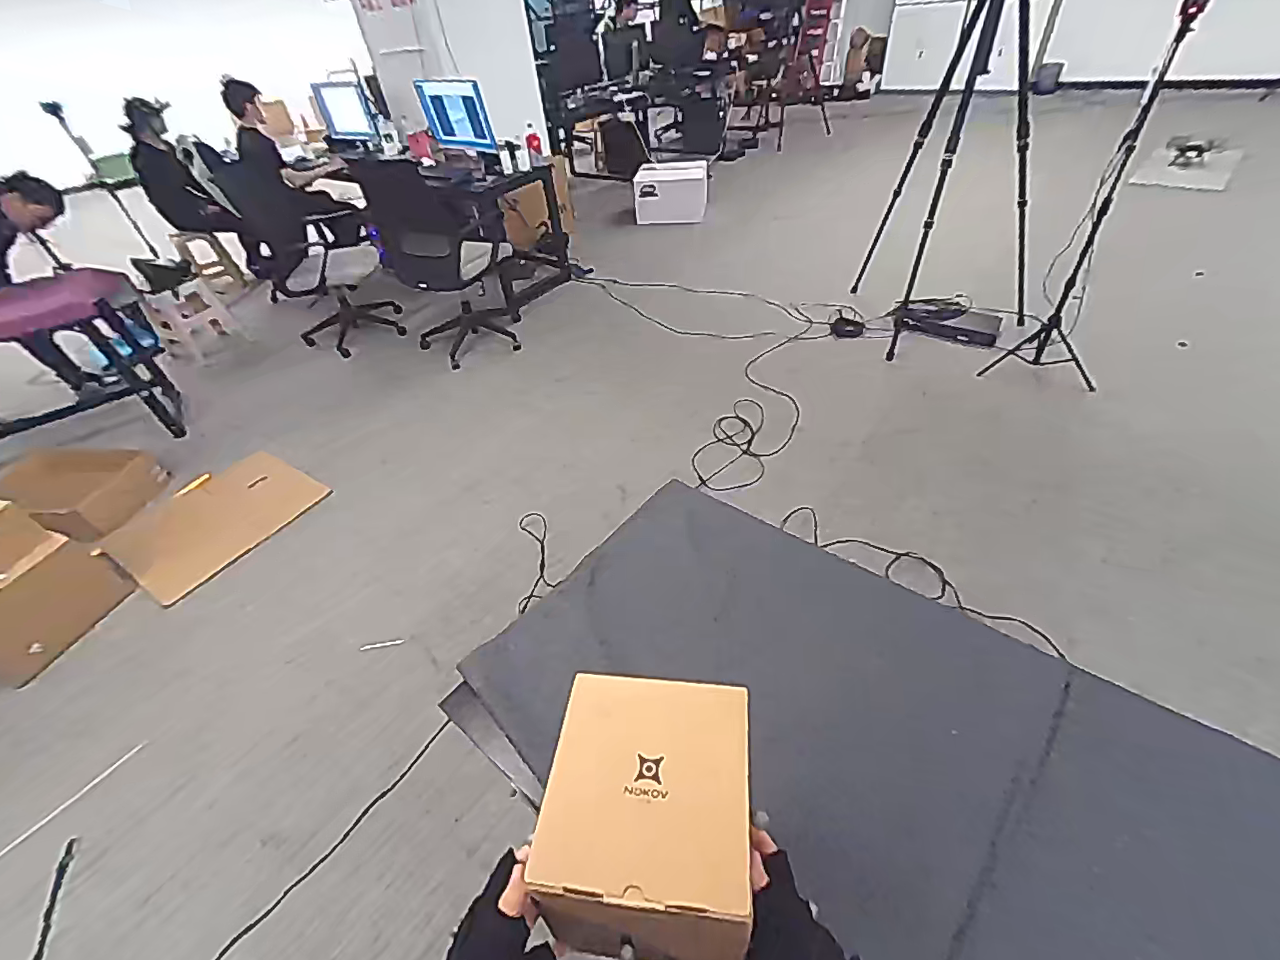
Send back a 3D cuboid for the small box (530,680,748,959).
[{"bbox_3d":[0.012,0.318,0.507,0.168,0.176,0.179,2,39,9],"label":"small box"}]
